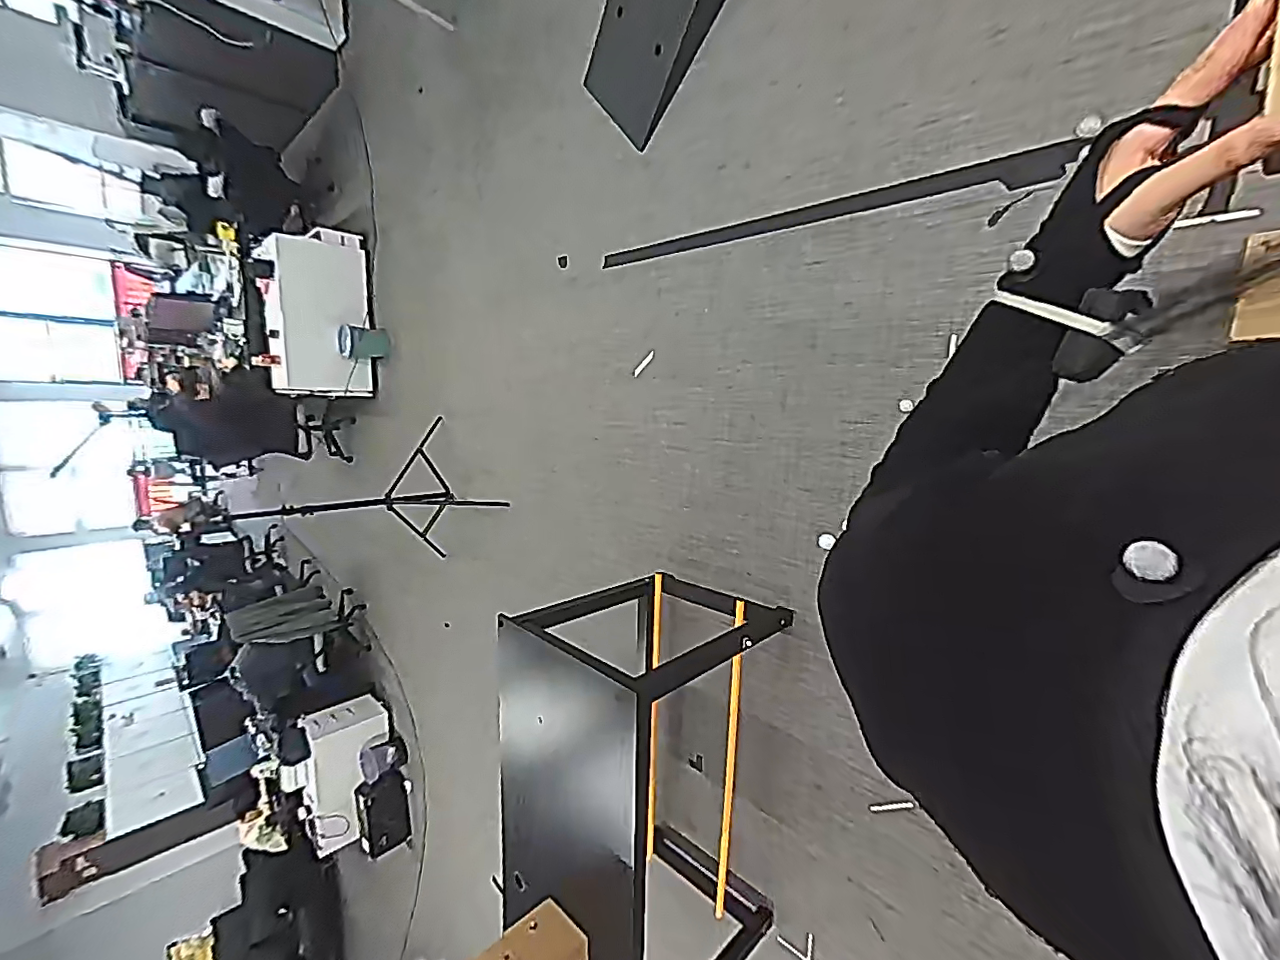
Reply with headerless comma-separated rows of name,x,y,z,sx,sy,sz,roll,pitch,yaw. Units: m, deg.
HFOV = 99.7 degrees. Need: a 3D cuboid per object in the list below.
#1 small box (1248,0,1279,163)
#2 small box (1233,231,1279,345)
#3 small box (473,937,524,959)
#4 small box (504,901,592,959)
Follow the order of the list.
small box,0.429,-0.279,0.259,0.168,0.176,0.179,10,108,49
small box,1.126,-0.318,0.902,0.168,0.176,0.179,11,103,44
small box,-0.362,1.319,1.348,0.168,0.176,0.179,6,99,46
small box,-0.249,1.301,1.467,0.179,0.176,0.168,8,101,44
